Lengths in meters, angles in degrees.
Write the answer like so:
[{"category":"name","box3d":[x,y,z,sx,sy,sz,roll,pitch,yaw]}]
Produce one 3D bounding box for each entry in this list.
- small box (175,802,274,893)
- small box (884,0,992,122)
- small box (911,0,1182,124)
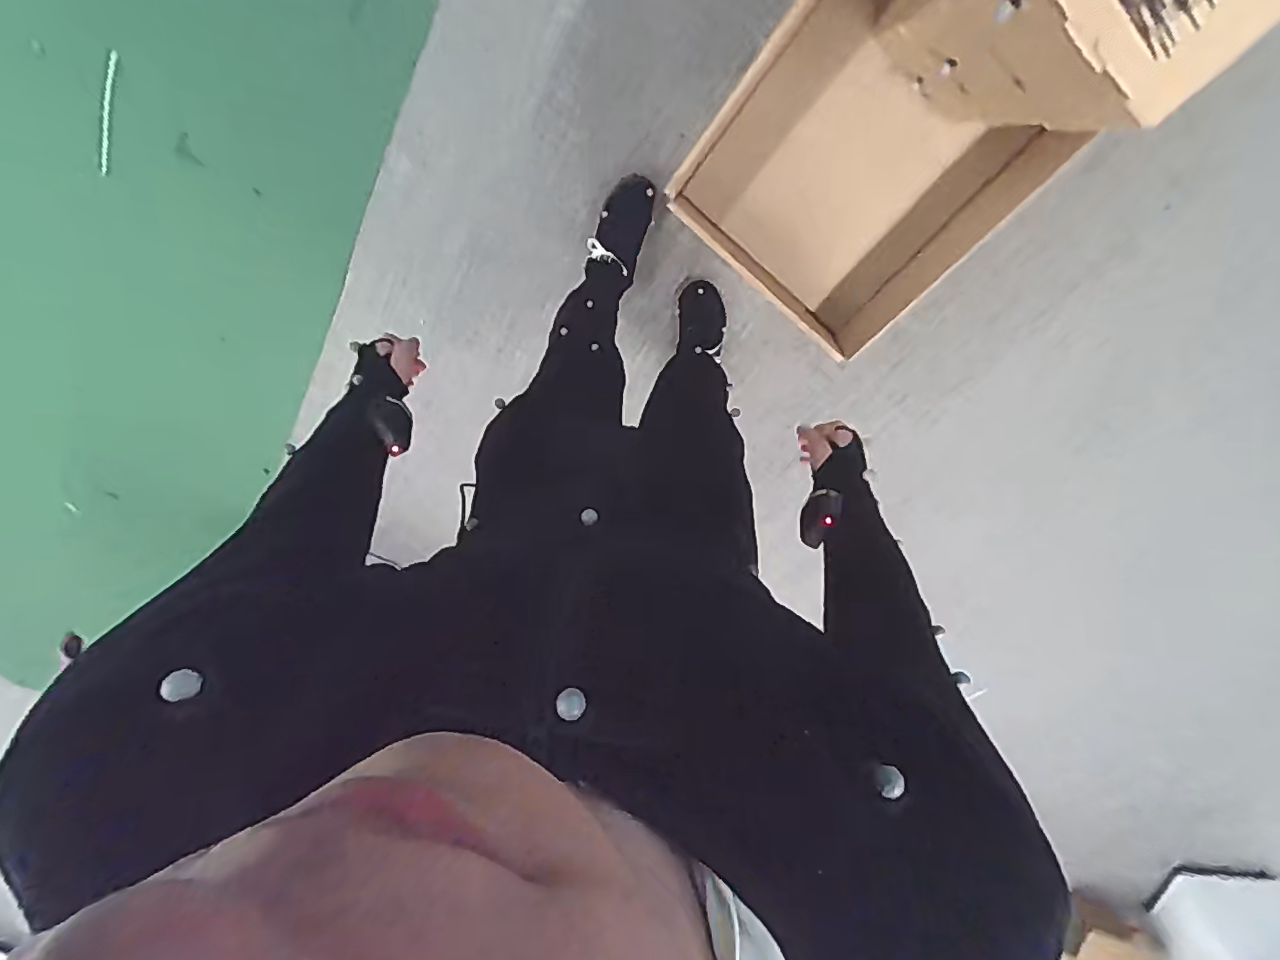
[{"category":"small box","box3d":[-1.293,1.146,1.692,0.168,0.176,0.179,37,120,-13]},{"category":"small box","box3d":[0.439,-0.588,0.676,0.168,0.176,0.179,38,122,-13]},{"category":"small box","box3d":[0.411,-0.499,0.543,0.168,0.176,0.179,36,123,-14]}]
